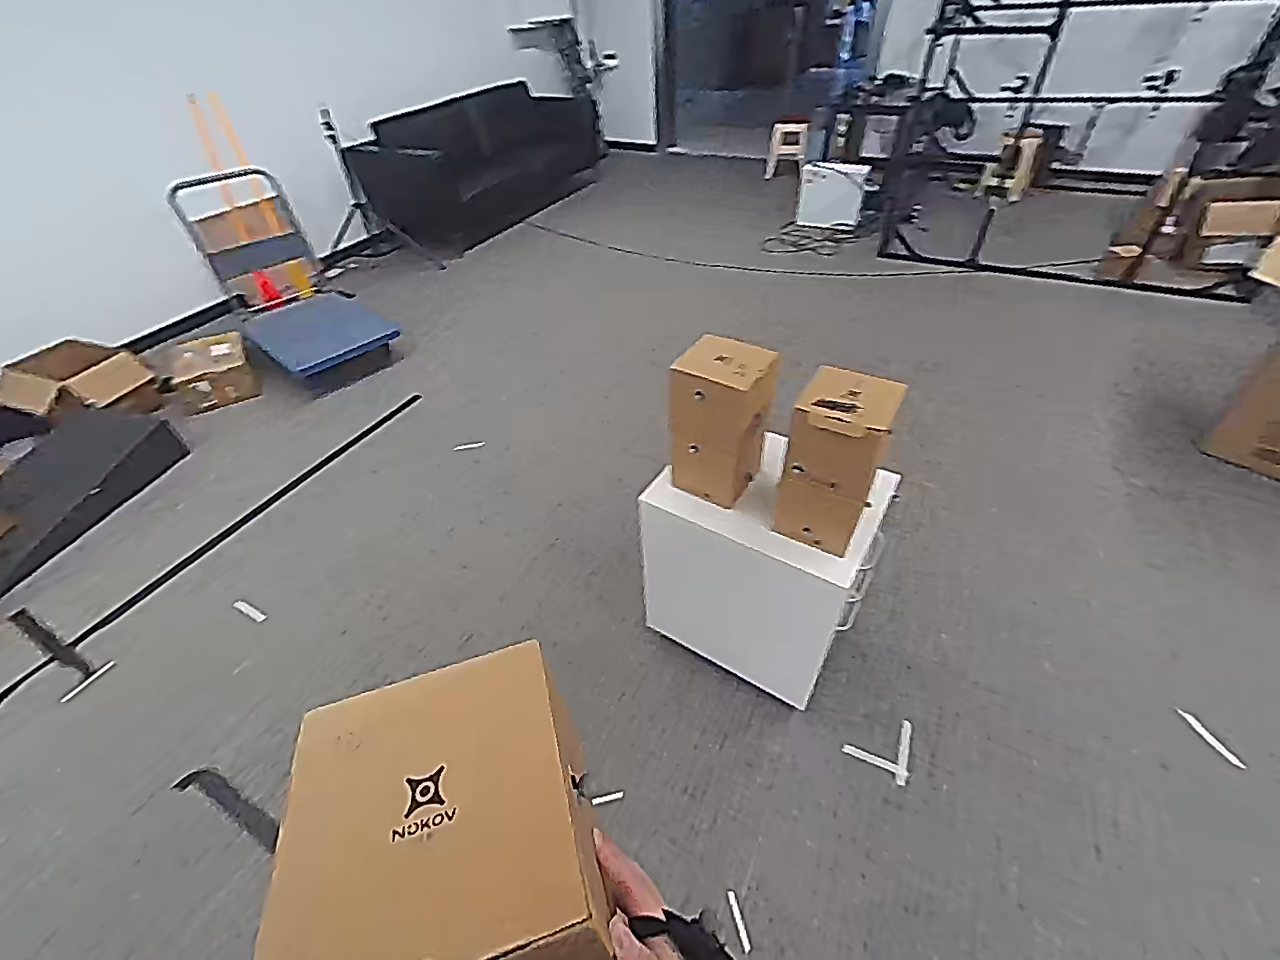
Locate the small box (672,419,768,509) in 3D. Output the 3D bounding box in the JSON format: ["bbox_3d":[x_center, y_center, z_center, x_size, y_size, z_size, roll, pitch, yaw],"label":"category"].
[{"bbox_3d":[0.184,-0.065,1.283,0.168,0.176,0.179,23,48,26],"label":"small box"}]

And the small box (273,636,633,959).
[{"bbox_3d":[-0.109,0.245,0.371,0.168,0.176,0.179,-15,40,-9],"label":"small box"}]

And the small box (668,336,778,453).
[{"bbox_3d":[0.175,-0.184,1.168,0.179,0.176,0.168,23,50,26],"label":"small box"}]

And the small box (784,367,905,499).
[{"bbox_3d":[0.392,-0.092,1.057,0.168,0.176,0.179,21,48,25],"label":"small box"}]
